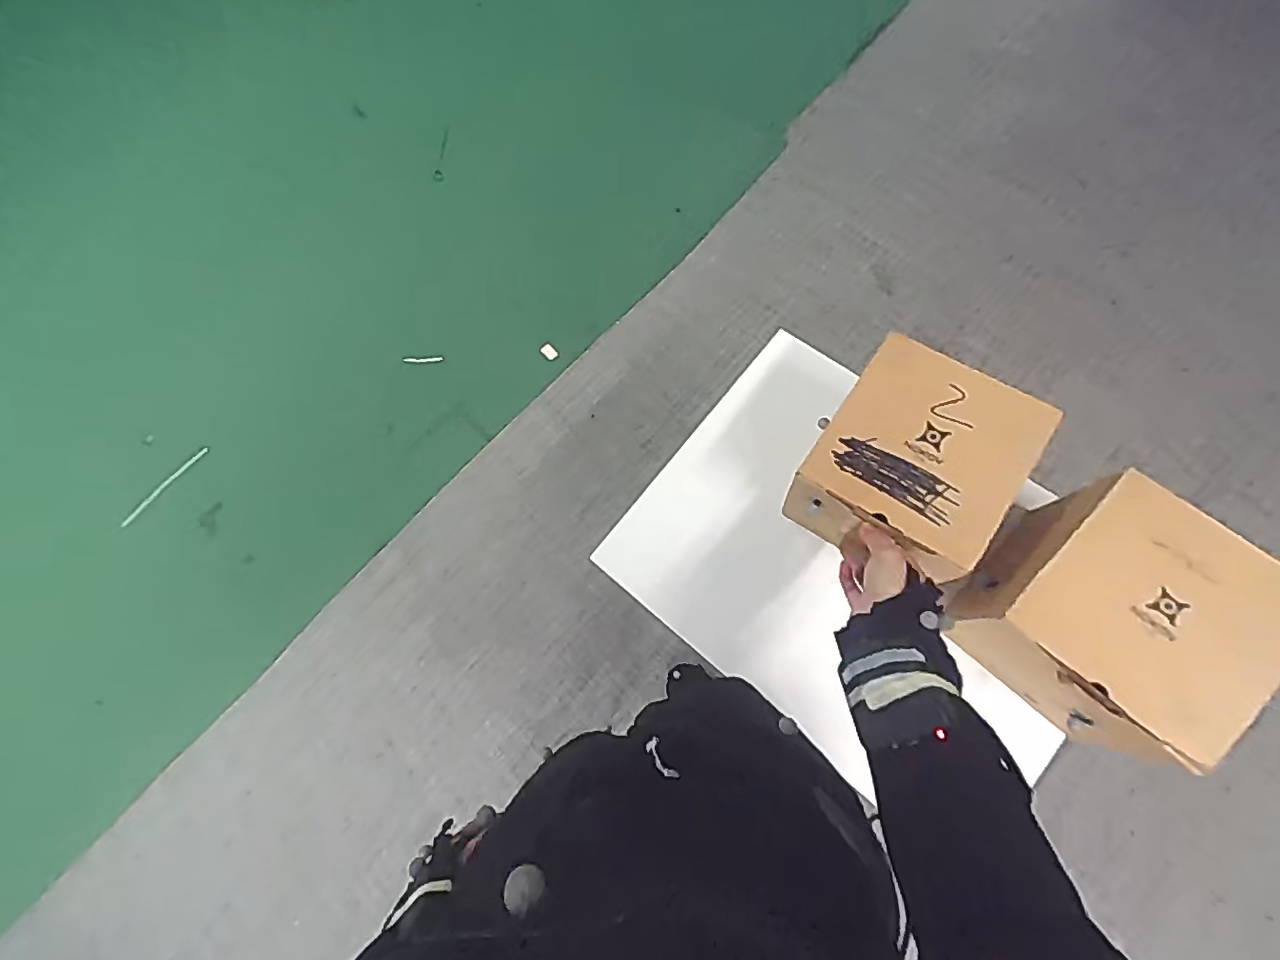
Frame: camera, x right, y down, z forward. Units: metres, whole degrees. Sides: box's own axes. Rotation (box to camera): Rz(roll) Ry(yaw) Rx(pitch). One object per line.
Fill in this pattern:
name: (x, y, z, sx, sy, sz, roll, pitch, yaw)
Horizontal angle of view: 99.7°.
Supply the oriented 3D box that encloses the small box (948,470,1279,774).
small box: (0.422, 0.126, 0.499, 0.168, 0.176, 0.179, 42, 83, 17)
